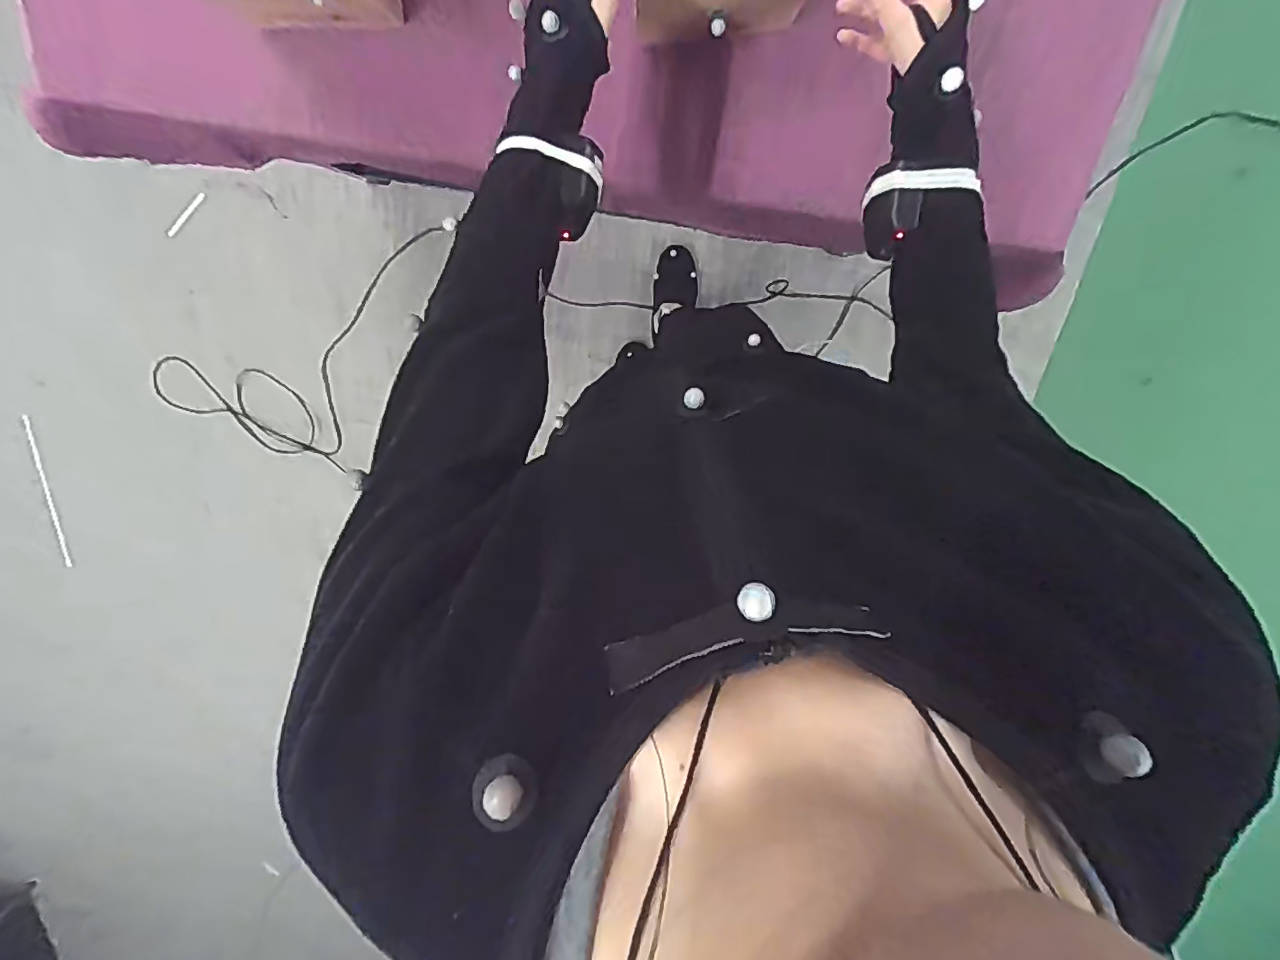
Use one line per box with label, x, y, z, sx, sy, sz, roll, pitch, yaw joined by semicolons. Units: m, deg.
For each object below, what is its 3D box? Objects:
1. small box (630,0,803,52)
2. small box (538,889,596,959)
small box;0.068;-0.527;0.483;0.168;0.176;0.179;-4;110;3
small box;-0.270;1.687;2.036;0.179;0.176;0.168;17;108;-7
